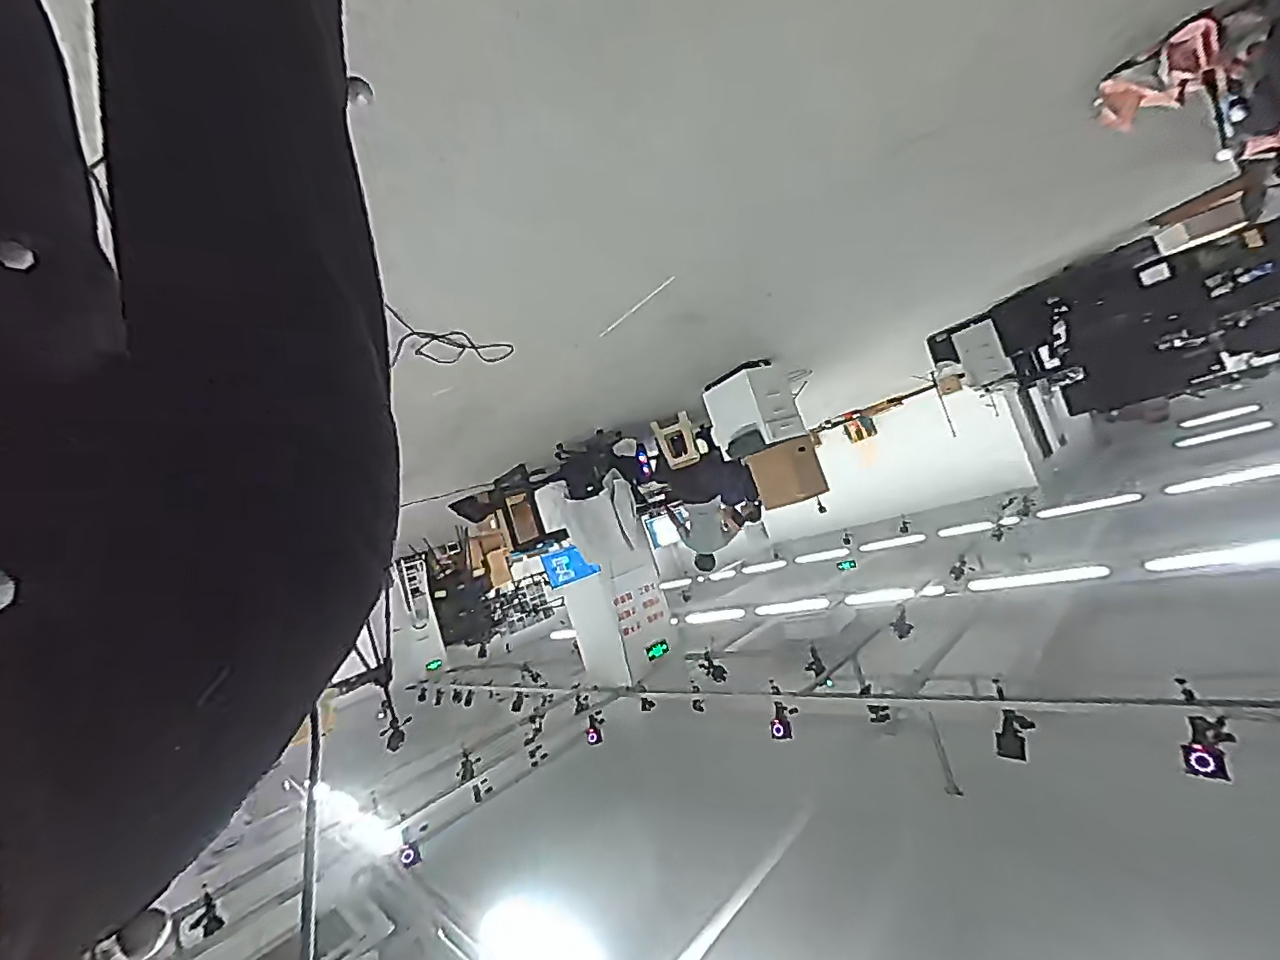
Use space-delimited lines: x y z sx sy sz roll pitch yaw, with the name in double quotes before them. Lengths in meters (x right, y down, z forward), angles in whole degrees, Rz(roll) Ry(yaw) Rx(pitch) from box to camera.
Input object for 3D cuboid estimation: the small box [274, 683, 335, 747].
"small box" -1.268 0.875 2.044 0.168 0.176 0.179 -14 175 -33
